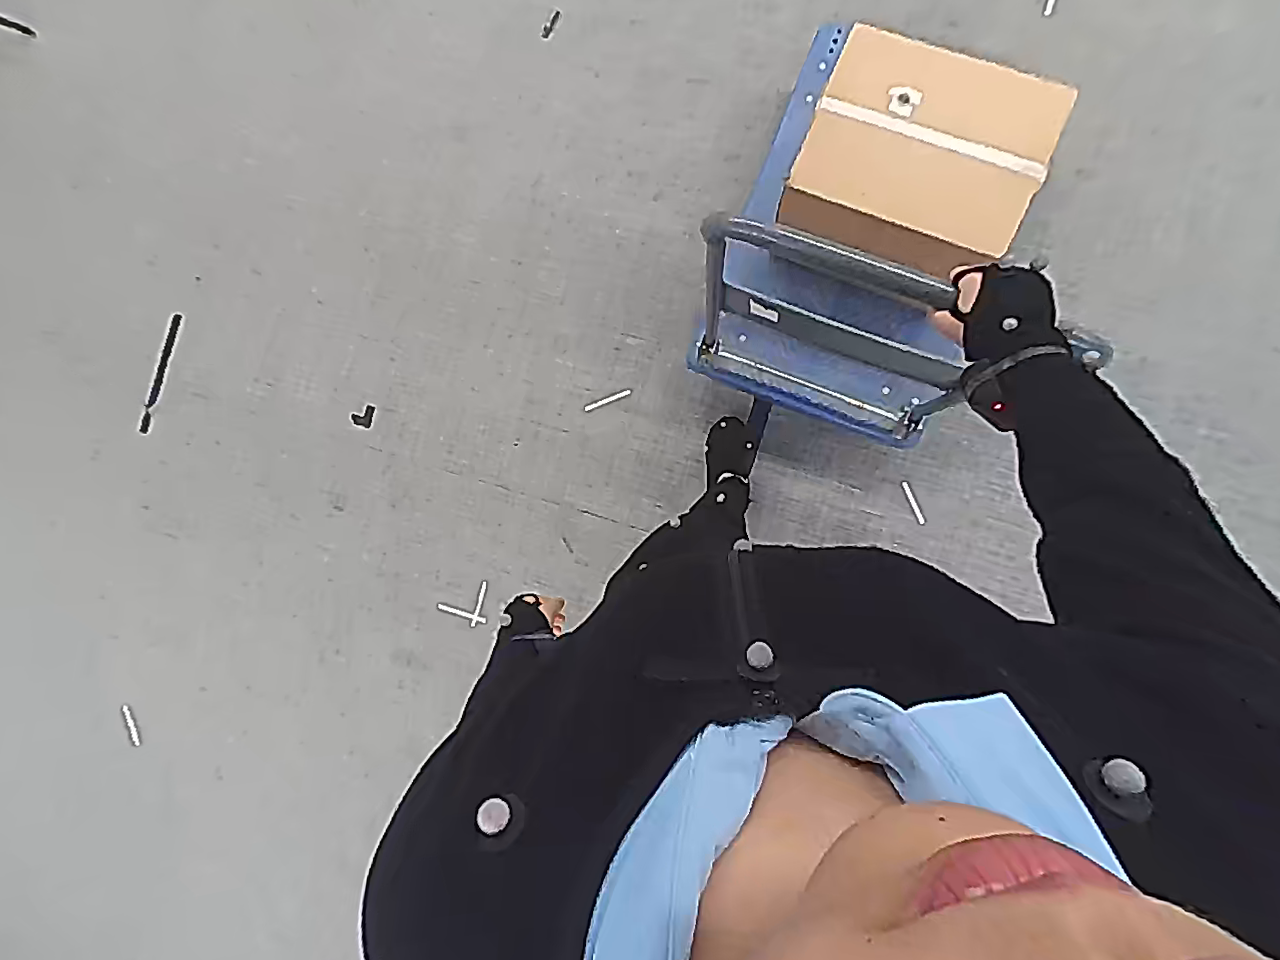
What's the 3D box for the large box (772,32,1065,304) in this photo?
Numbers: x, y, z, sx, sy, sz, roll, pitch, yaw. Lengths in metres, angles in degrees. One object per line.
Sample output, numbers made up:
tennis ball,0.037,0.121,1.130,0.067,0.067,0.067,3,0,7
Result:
large box,0.531,-0.614,1.123,0.408,0.320,0.320,23,92,9
